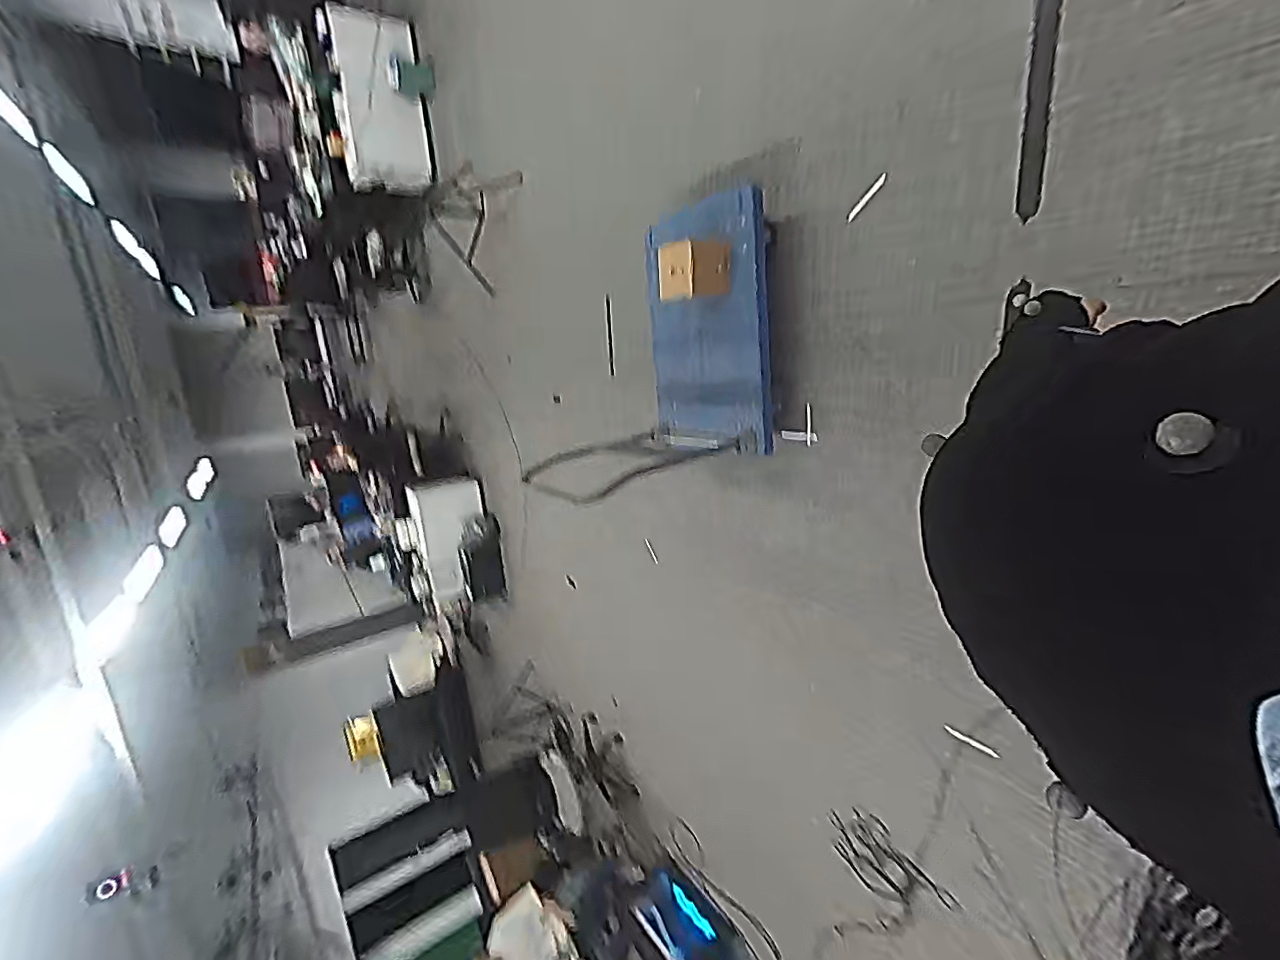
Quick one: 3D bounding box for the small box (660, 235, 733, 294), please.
[{"bbox_3d":[0.185,-0.705,1.786,0.179,0.176,0.168,19,118,52],"label":"small box"}]
